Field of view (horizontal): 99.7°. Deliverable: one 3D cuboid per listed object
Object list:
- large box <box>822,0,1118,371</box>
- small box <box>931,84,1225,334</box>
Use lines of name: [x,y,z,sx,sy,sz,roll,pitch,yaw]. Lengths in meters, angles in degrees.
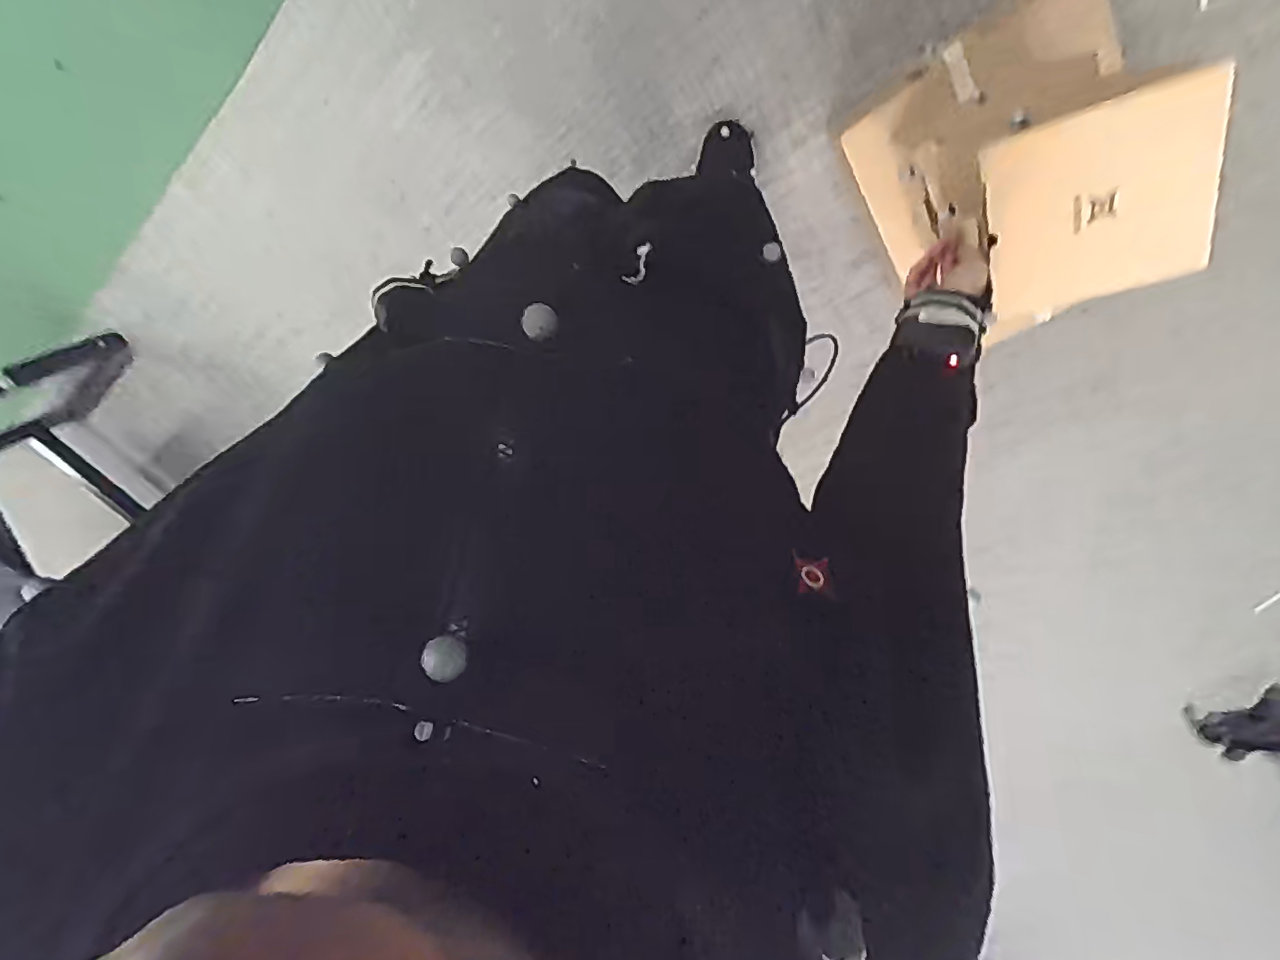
large box: [0.542,-0.469,0.894,0.320,0.320,0.408,-25,115,28]
small box: [0.420,-0.275,0.553,0.179,0.176,0.168,-12,120,20]
